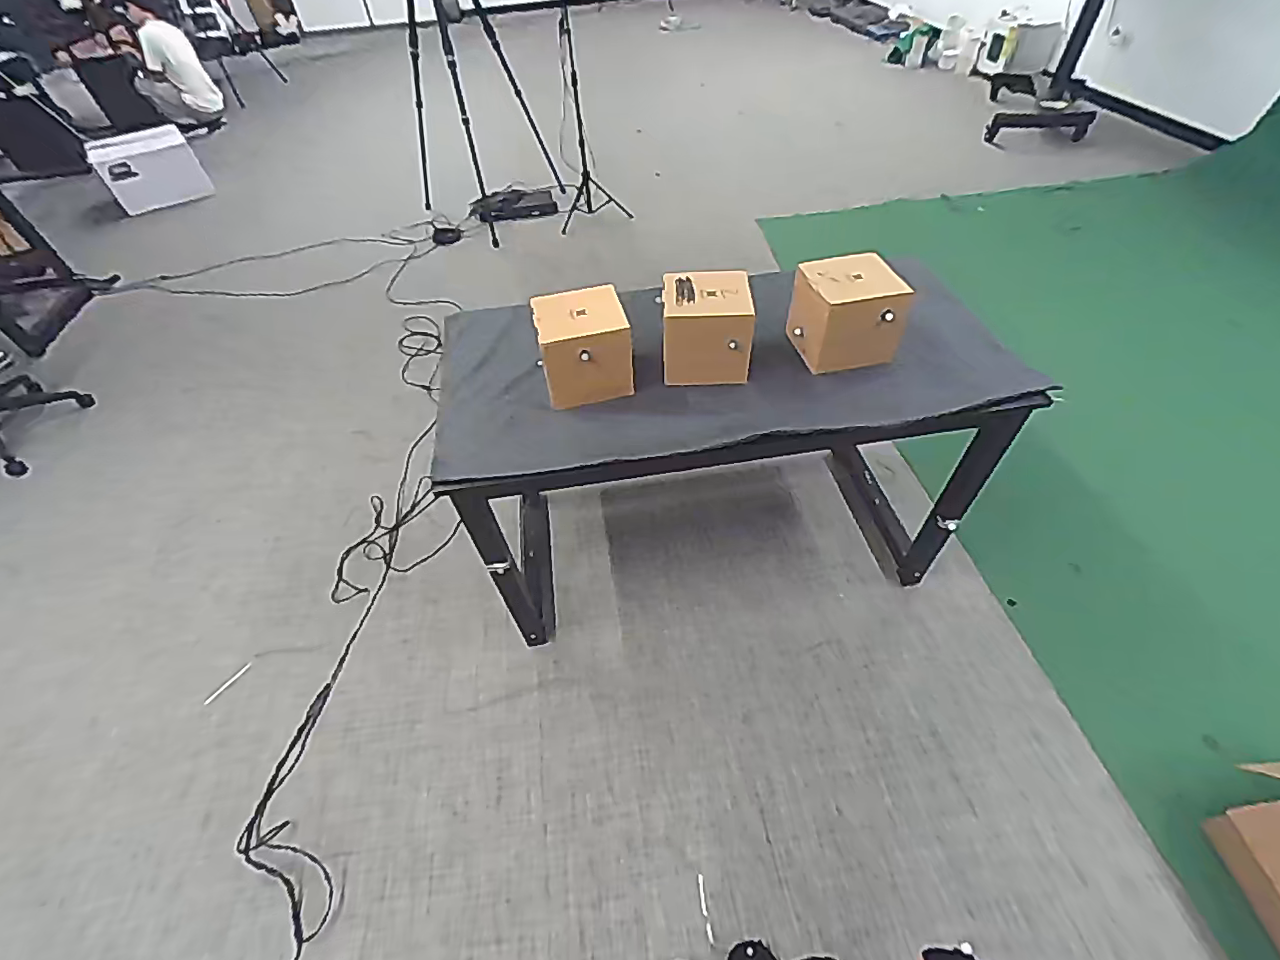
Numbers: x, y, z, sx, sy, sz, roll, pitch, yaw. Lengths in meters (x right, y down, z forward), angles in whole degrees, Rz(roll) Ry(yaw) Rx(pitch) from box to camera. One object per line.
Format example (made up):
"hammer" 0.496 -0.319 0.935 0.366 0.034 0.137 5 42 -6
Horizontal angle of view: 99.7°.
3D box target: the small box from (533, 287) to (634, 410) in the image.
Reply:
"small box" -0.112 -0.271 1.122 0.179 0.176 0.168 -13 50 -6

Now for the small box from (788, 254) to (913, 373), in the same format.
"small box" 0.434 -0.350 1.145 0.179 0.176 0.168 -11 49 -5
